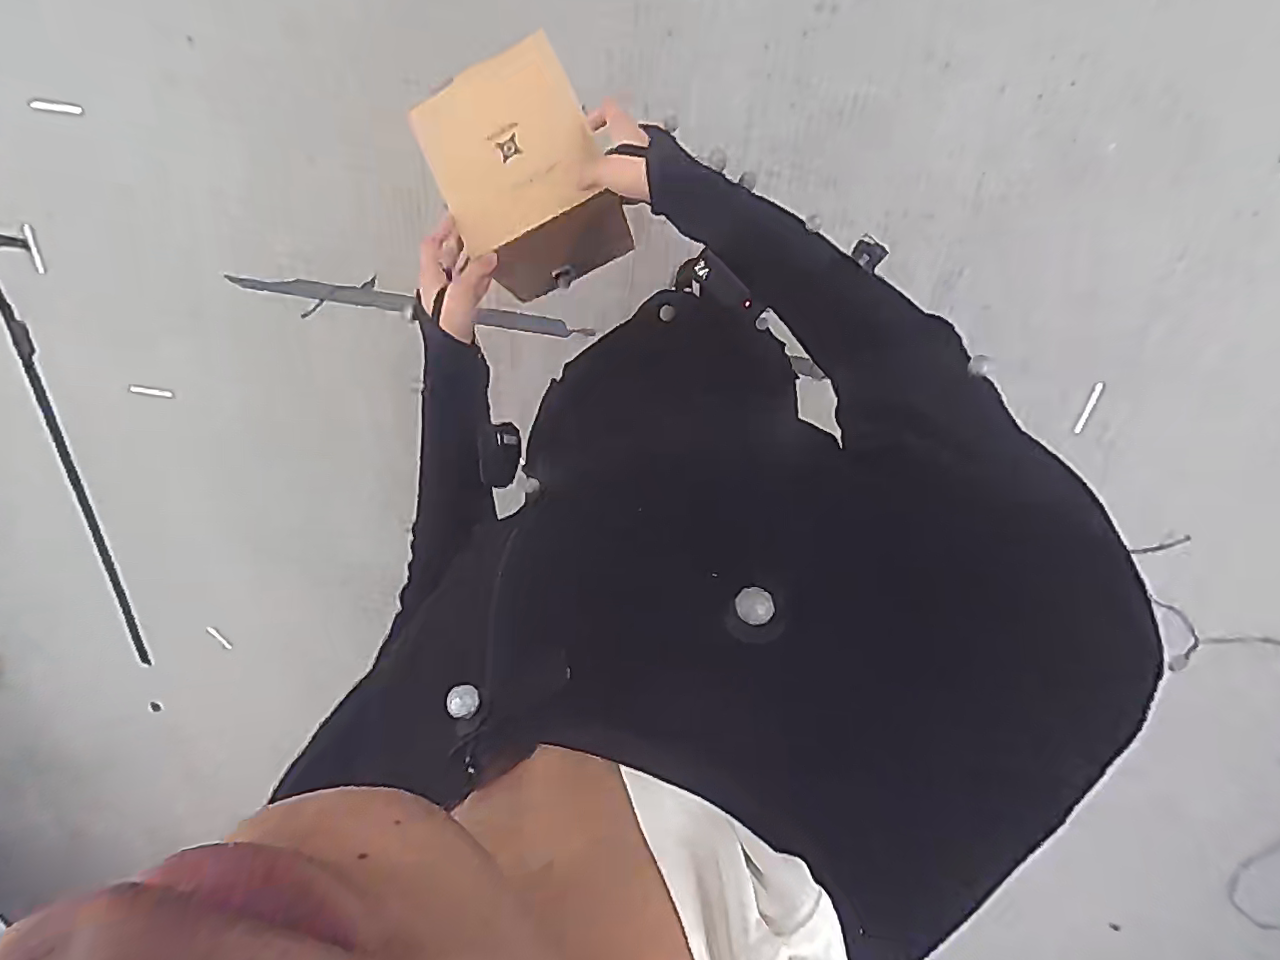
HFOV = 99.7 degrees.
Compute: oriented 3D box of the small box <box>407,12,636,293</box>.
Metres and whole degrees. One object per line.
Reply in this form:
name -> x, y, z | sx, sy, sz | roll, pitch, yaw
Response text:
small box -> -0.116, -0.340, 0.601 | 0.168, 0.176, 0.179 | -23, 90, 7
